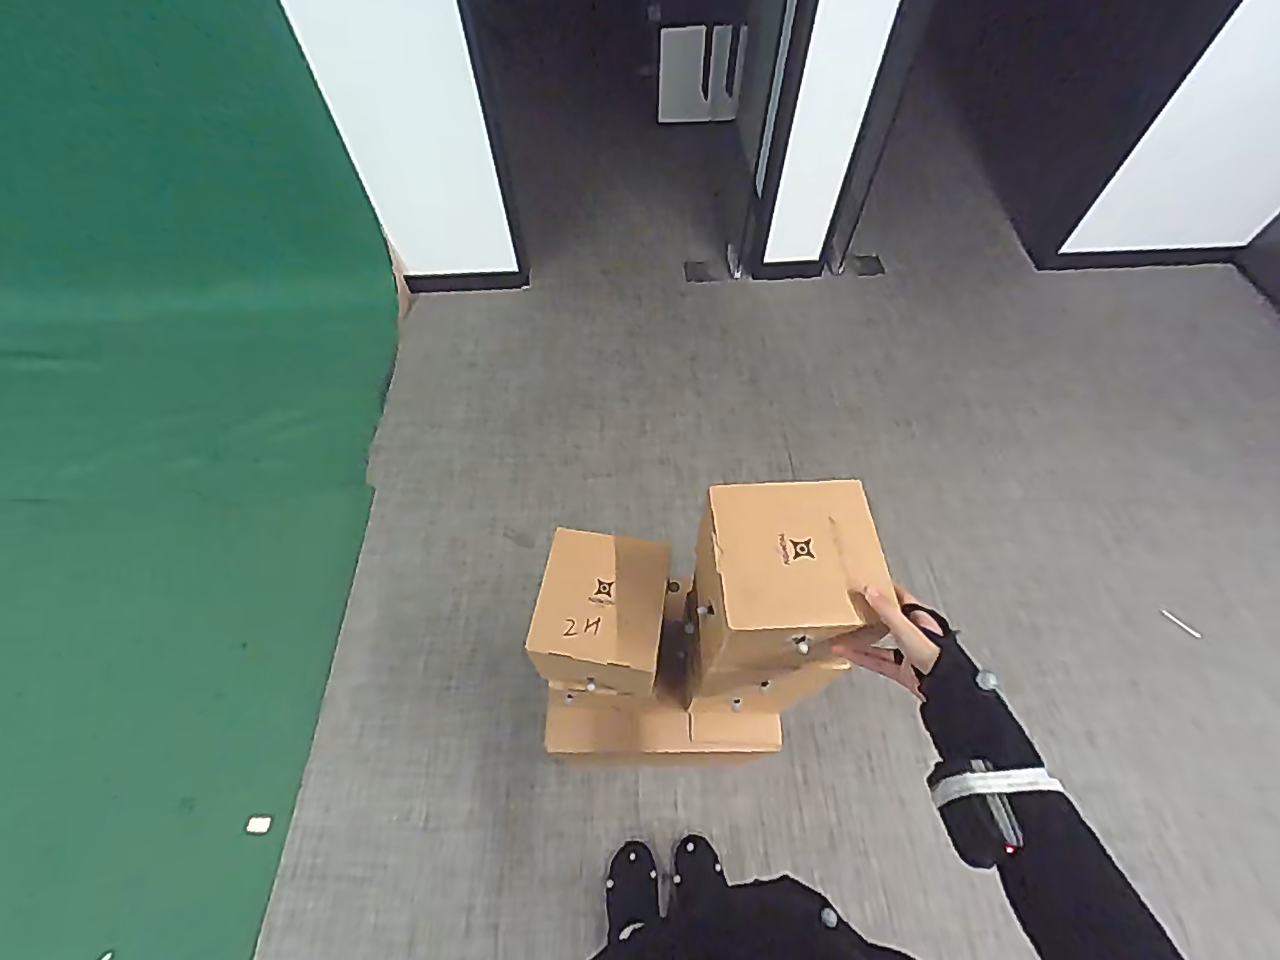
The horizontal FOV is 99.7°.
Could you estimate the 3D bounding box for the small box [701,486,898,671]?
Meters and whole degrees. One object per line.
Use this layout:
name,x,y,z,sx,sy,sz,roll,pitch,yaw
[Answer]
small box,0.165,0.121,0.633,0.179,0.176,0.168,-2,58,-1
